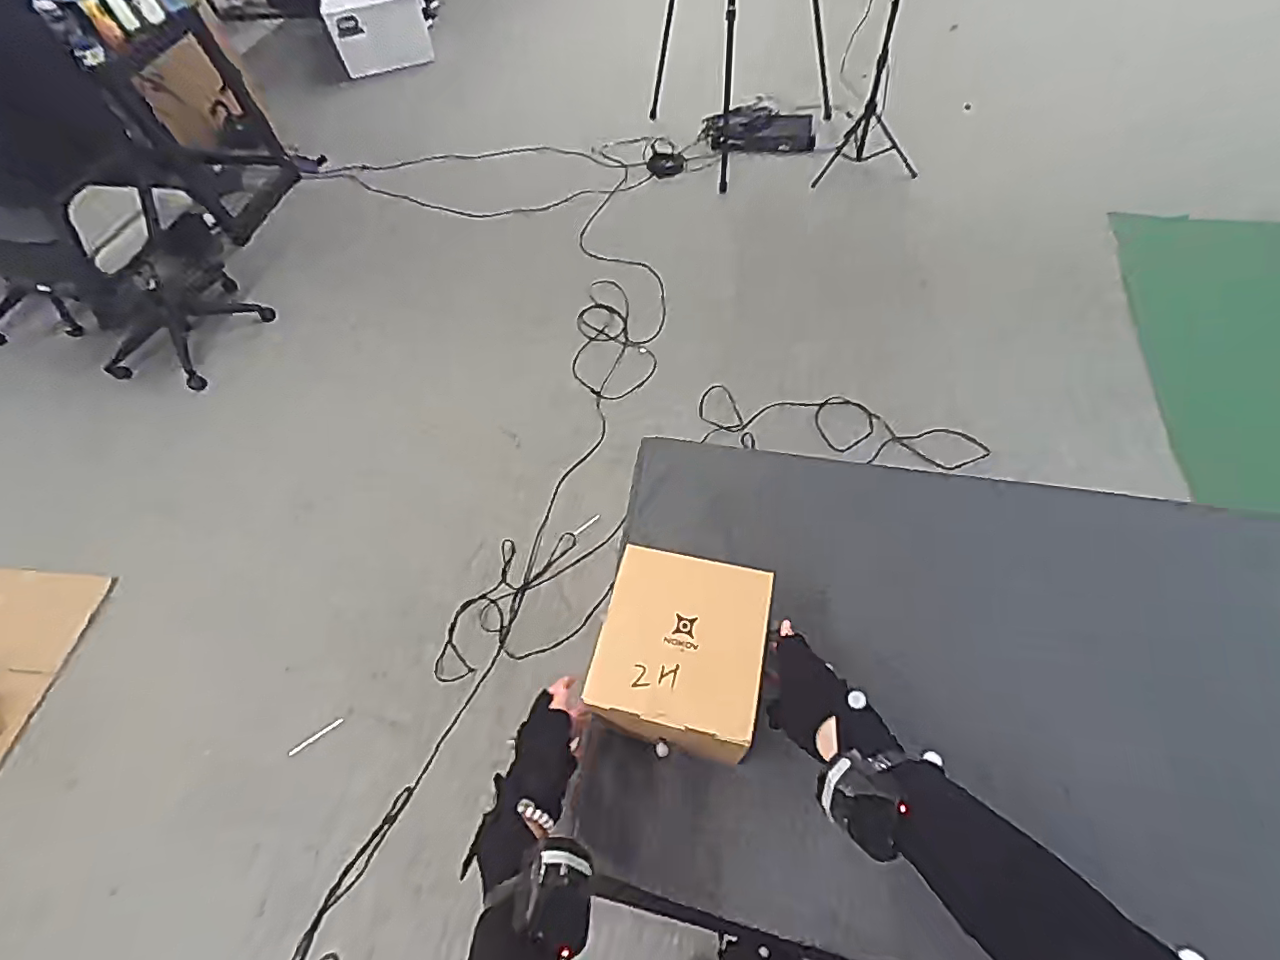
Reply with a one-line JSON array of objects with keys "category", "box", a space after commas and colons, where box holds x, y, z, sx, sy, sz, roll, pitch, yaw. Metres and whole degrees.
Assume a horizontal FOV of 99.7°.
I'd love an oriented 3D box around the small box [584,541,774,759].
[{"category": "small box", "box": [0.050, 0.196, 0.616, 0.168, 0.176, 0.179, 9, 58, 12]}]
